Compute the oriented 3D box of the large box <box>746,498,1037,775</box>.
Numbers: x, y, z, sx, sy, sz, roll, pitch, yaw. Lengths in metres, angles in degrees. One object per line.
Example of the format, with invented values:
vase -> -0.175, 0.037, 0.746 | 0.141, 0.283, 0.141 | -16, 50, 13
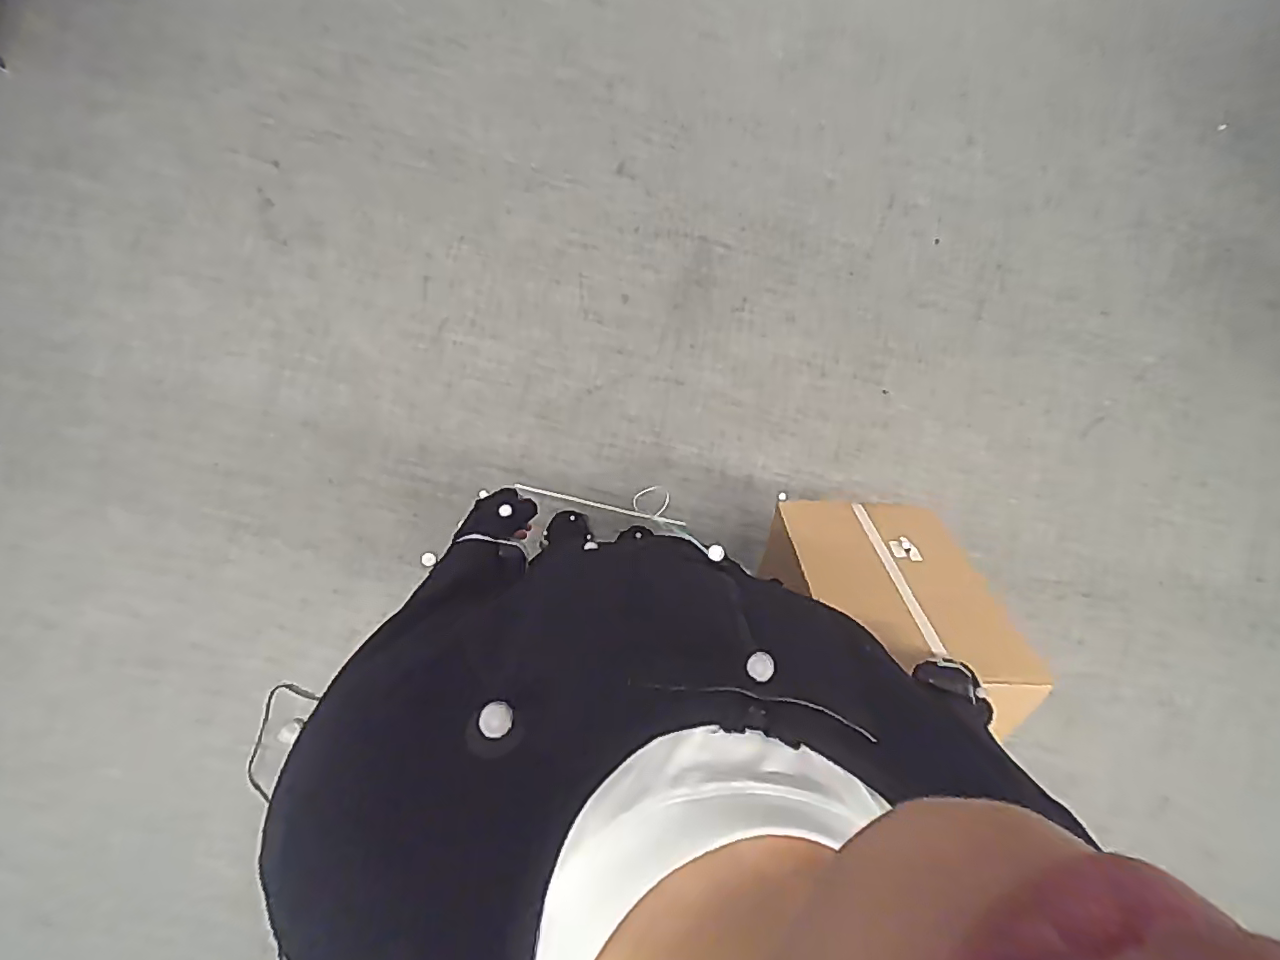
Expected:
large box -> 0.411, 0.281, 1.018 | 0.320, 0.408, 0.320 | 4, 125, -5
